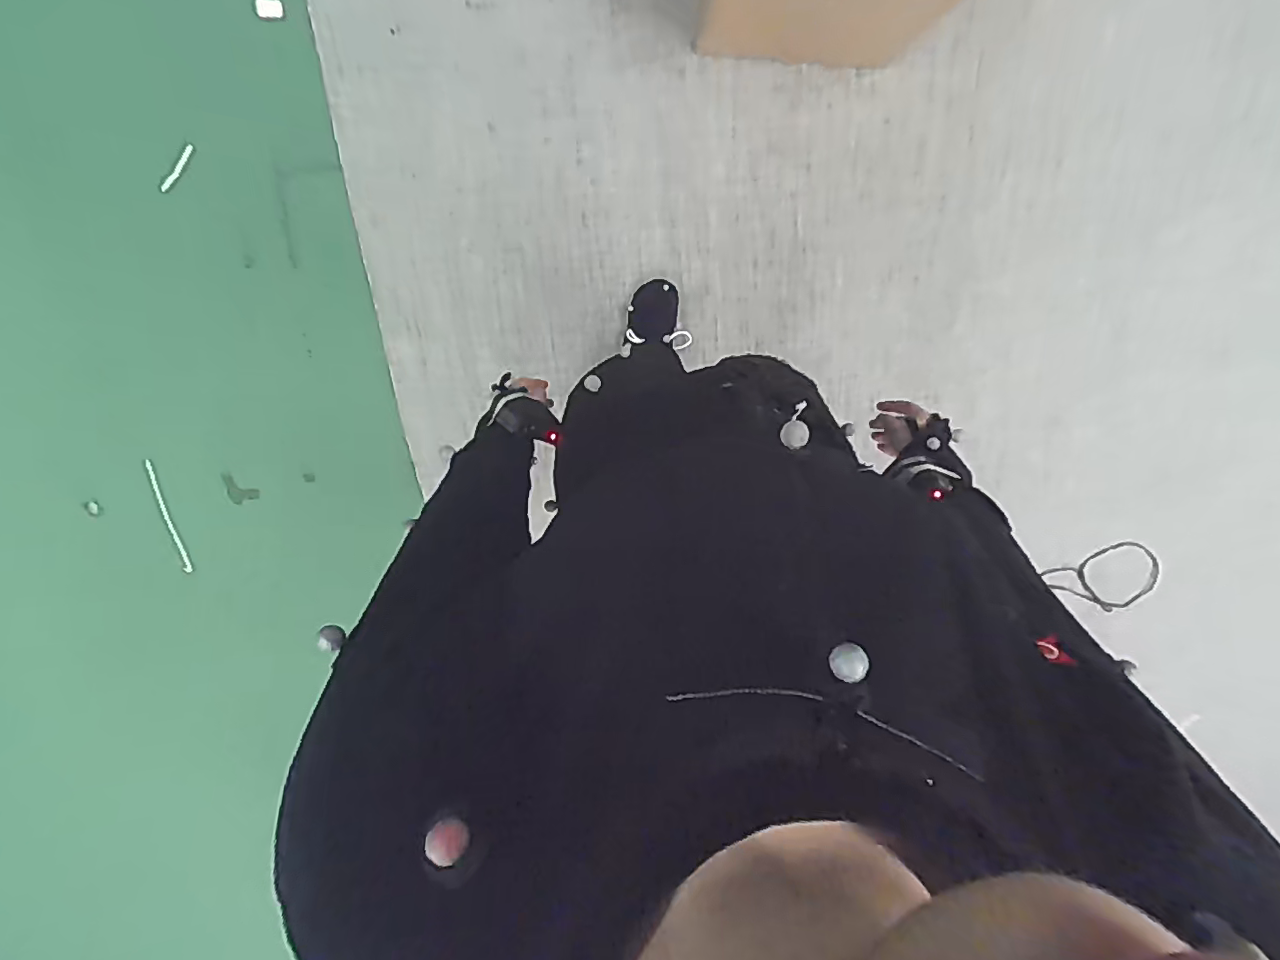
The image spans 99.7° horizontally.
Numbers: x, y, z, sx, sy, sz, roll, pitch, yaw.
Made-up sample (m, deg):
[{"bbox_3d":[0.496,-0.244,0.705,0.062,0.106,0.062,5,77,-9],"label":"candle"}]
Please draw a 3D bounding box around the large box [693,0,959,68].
[{"bbox_3d":[0.311,-0.941,0.915,0.408,0.320,0.320,0,110,-3],"label":"large box"}]
